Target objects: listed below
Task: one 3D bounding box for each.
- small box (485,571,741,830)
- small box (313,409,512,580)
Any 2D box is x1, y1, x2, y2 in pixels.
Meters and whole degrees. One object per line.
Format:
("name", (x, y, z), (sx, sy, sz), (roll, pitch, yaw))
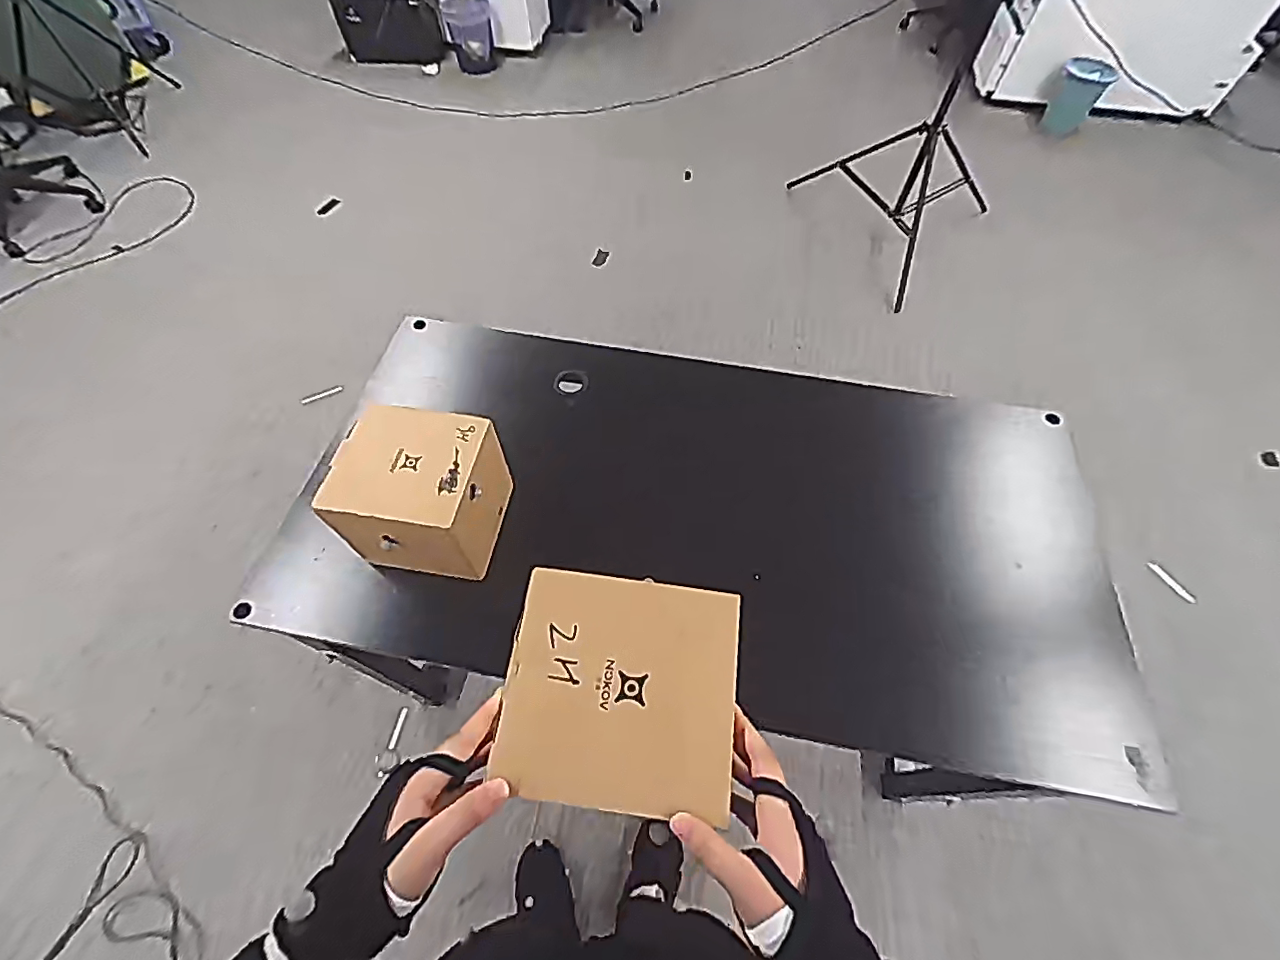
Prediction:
("small box", (-0.015, 0.195, 0.482), (0.179, 0.176, 0.168), (7, 62, 3))
("small box", (-0.295, 0.025, 0.746), (0.179, 0.176, 0.168), (7, 58, 4))
